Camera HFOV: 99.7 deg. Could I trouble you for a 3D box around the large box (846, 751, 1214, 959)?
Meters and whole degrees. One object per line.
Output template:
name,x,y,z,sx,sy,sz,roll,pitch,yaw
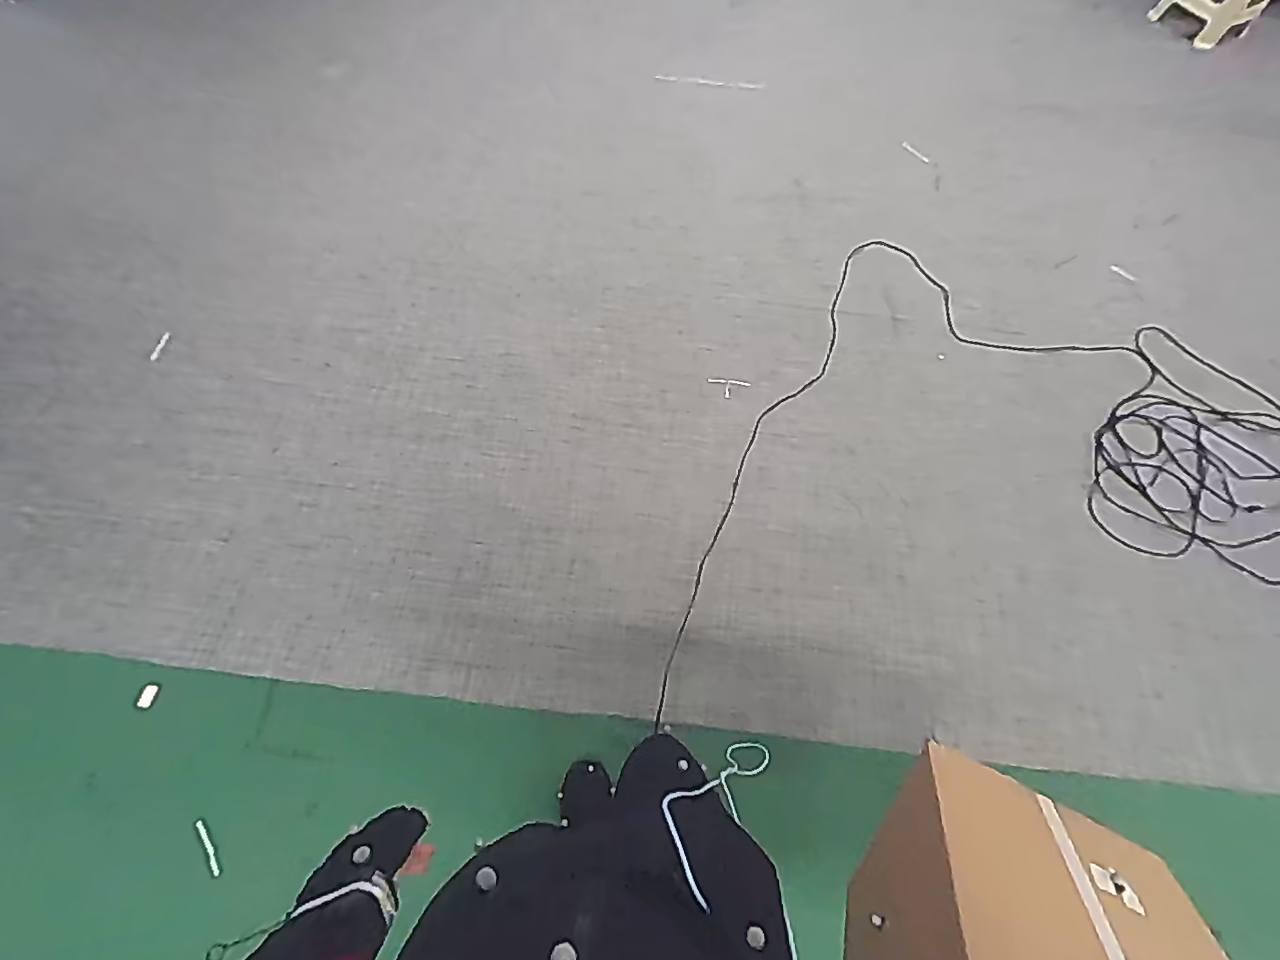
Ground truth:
large box,0.451,0.632,0.640,0.320,0.408,0.320,25,104,19
